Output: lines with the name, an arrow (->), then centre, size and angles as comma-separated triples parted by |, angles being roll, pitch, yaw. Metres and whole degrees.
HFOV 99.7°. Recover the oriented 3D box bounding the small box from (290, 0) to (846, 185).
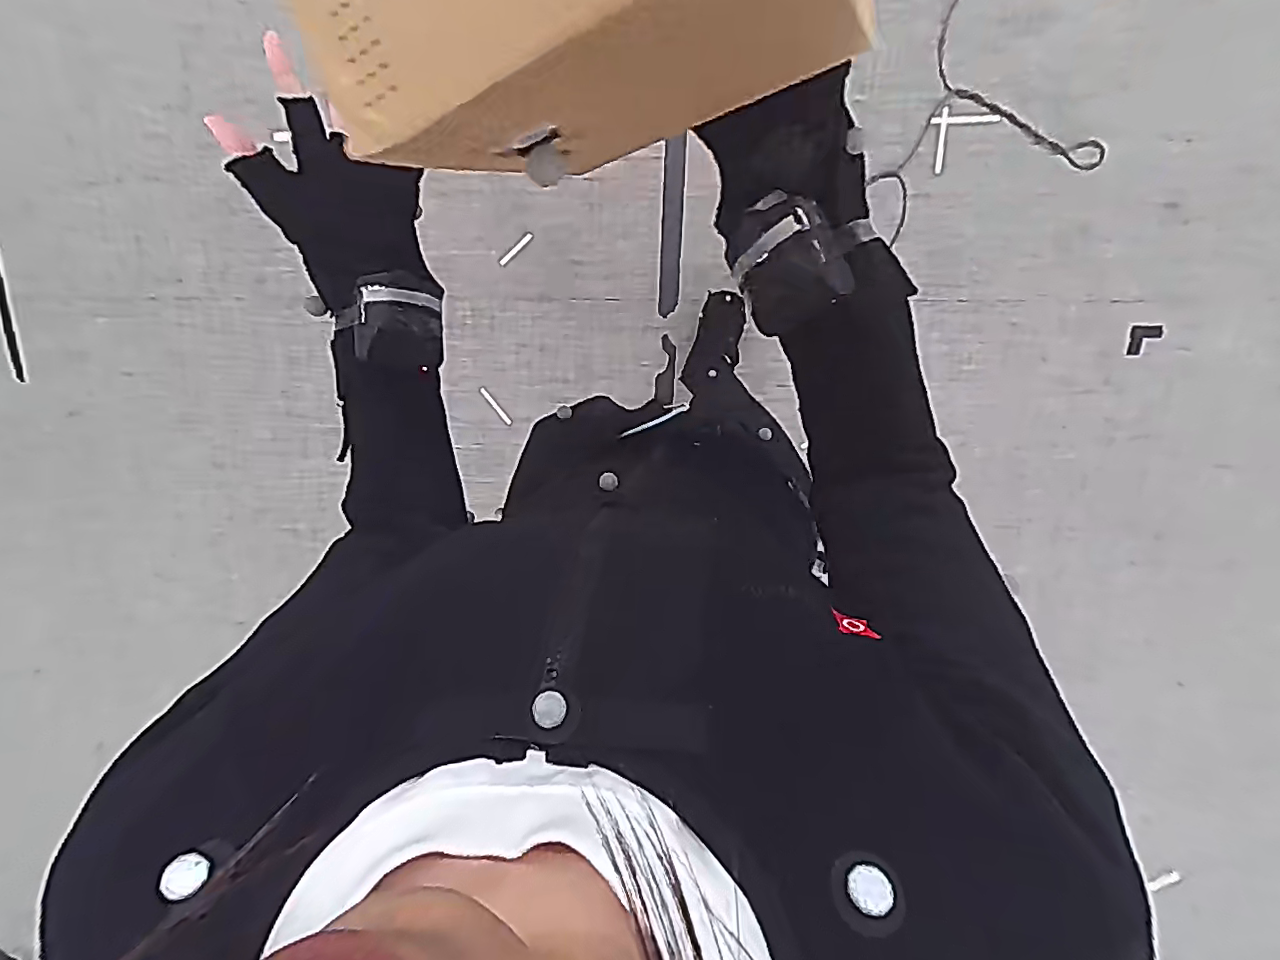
small box -> -0.031, -0.238, 0.206 | 0.176, 0.168, 0.179 | -5, 113, 31
